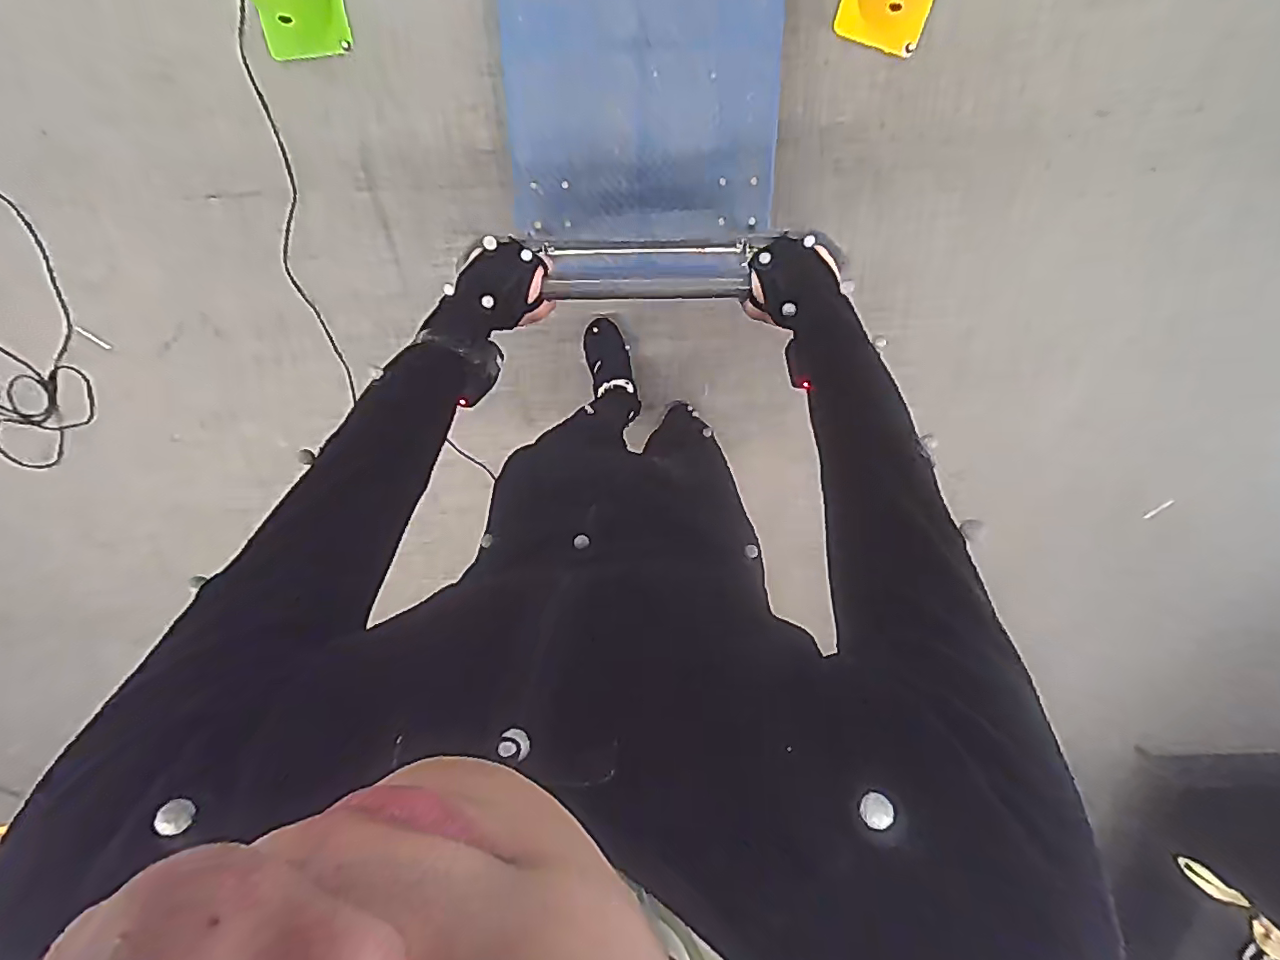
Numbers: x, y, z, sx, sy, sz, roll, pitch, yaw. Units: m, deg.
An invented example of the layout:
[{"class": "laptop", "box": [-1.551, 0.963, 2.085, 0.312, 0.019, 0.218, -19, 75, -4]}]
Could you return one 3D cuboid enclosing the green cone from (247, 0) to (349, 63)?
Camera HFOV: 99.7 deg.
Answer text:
[{"class": "green cone", "box": [-0.783, -1.014, 1.064, 0.202, 0.368, 0.200, -5, 111, 5]}]
